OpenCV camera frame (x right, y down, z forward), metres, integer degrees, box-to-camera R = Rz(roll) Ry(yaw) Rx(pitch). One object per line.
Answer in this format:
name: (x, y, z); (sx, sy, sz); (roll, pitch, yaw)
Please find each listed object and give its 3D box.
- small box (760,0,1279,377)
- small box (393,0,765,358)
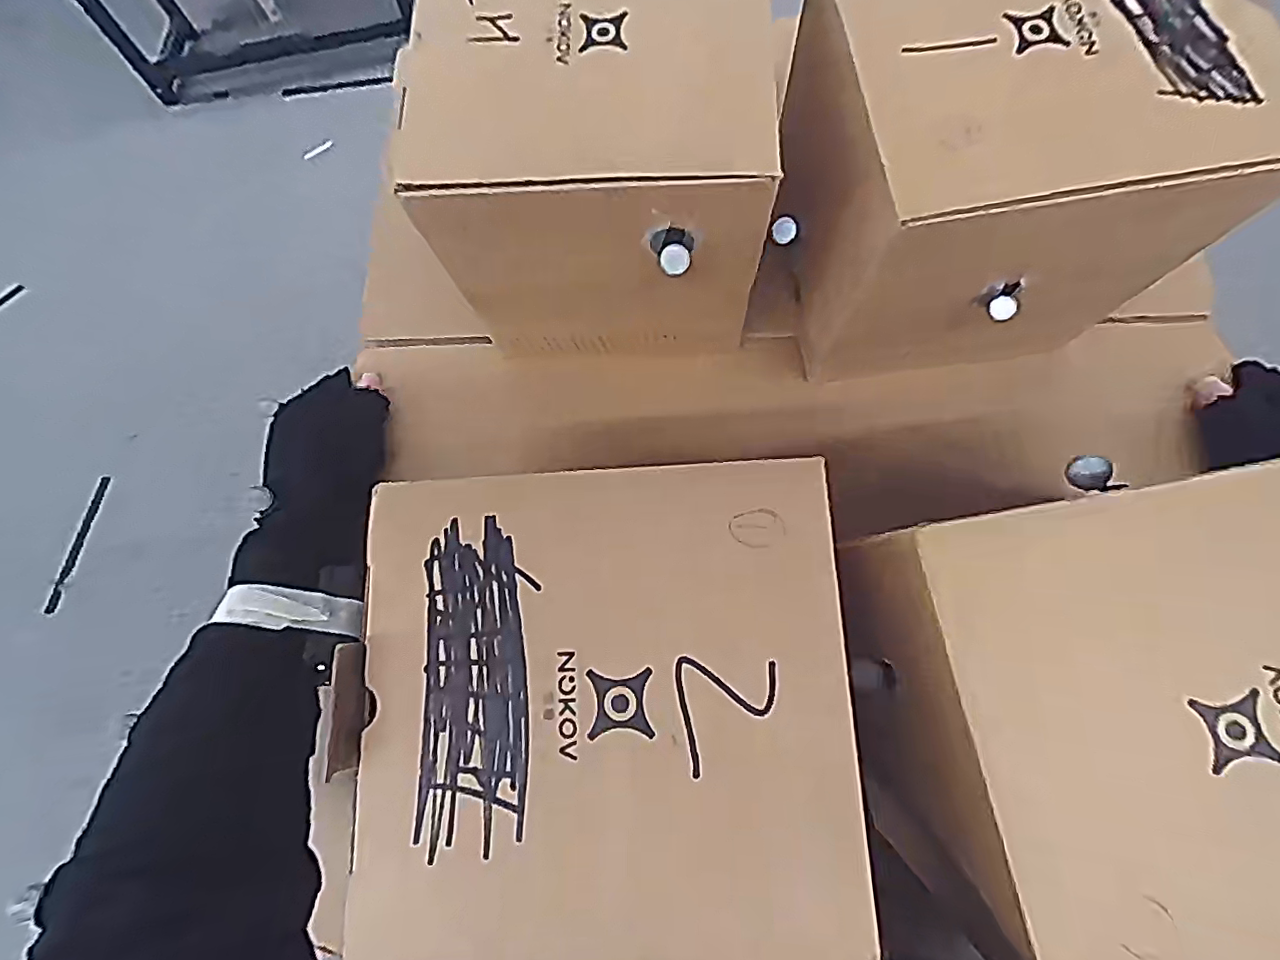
small box: (0.180, -0.178, 0.325); (0.179, 0.176, 0.168); (-9, 76, 4)
small box: (-0.023, -0.188, 0.344); (0.179, 0.176, 0.168); (0, 76, 4)
